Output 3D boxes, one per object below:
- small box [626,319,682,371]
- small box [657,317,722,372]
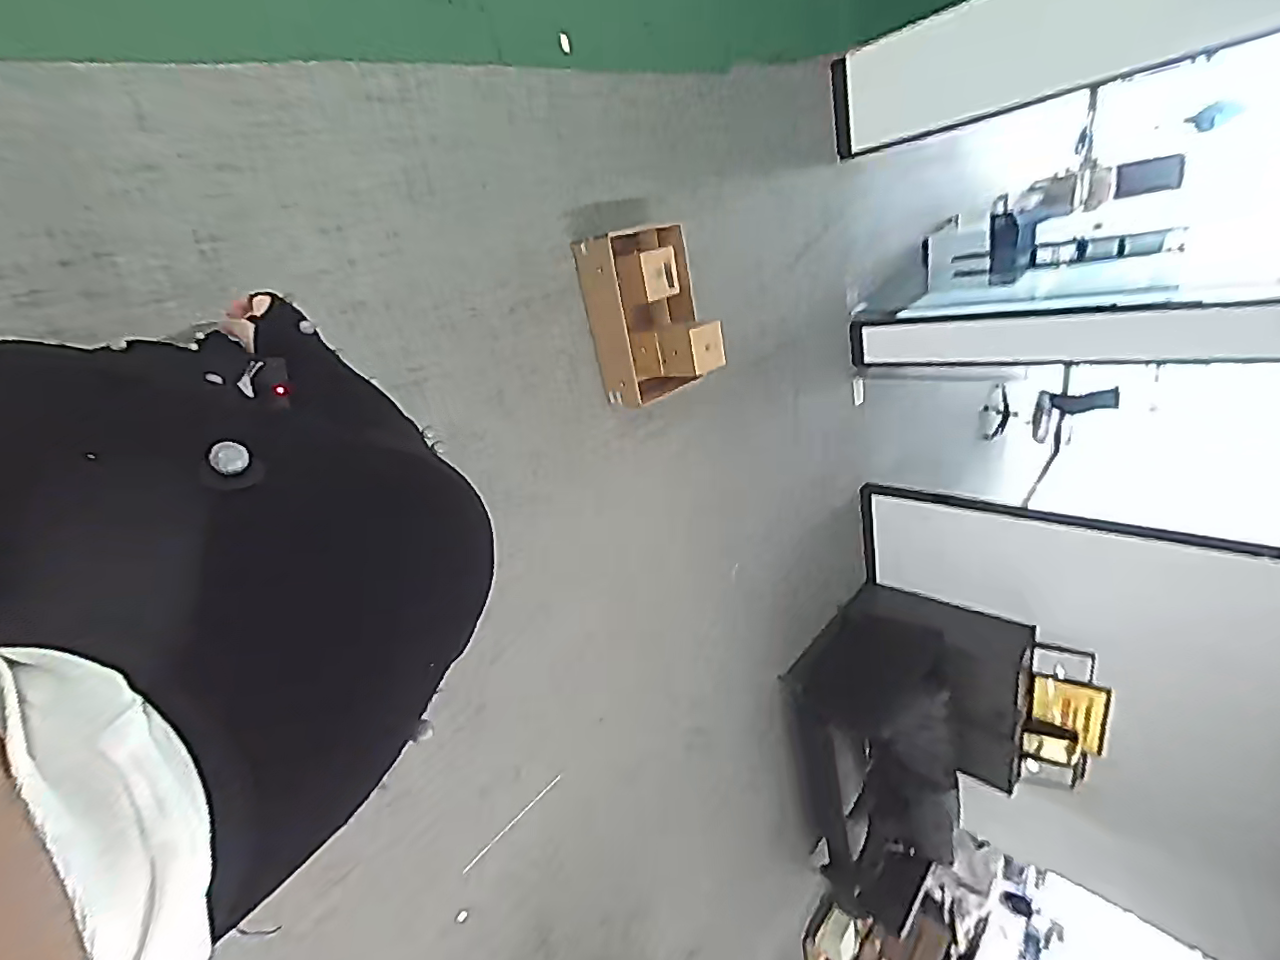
[{"bbox_3d":[0.063,-0.529,2.128,0.179,0.176,0.168,-30,118,-37],"label":"small box"},{"bbox_3d":[0.179,-0.503,2.013,0.179,0.176,0.168,-29,118,-37],"label":"small box"}]
